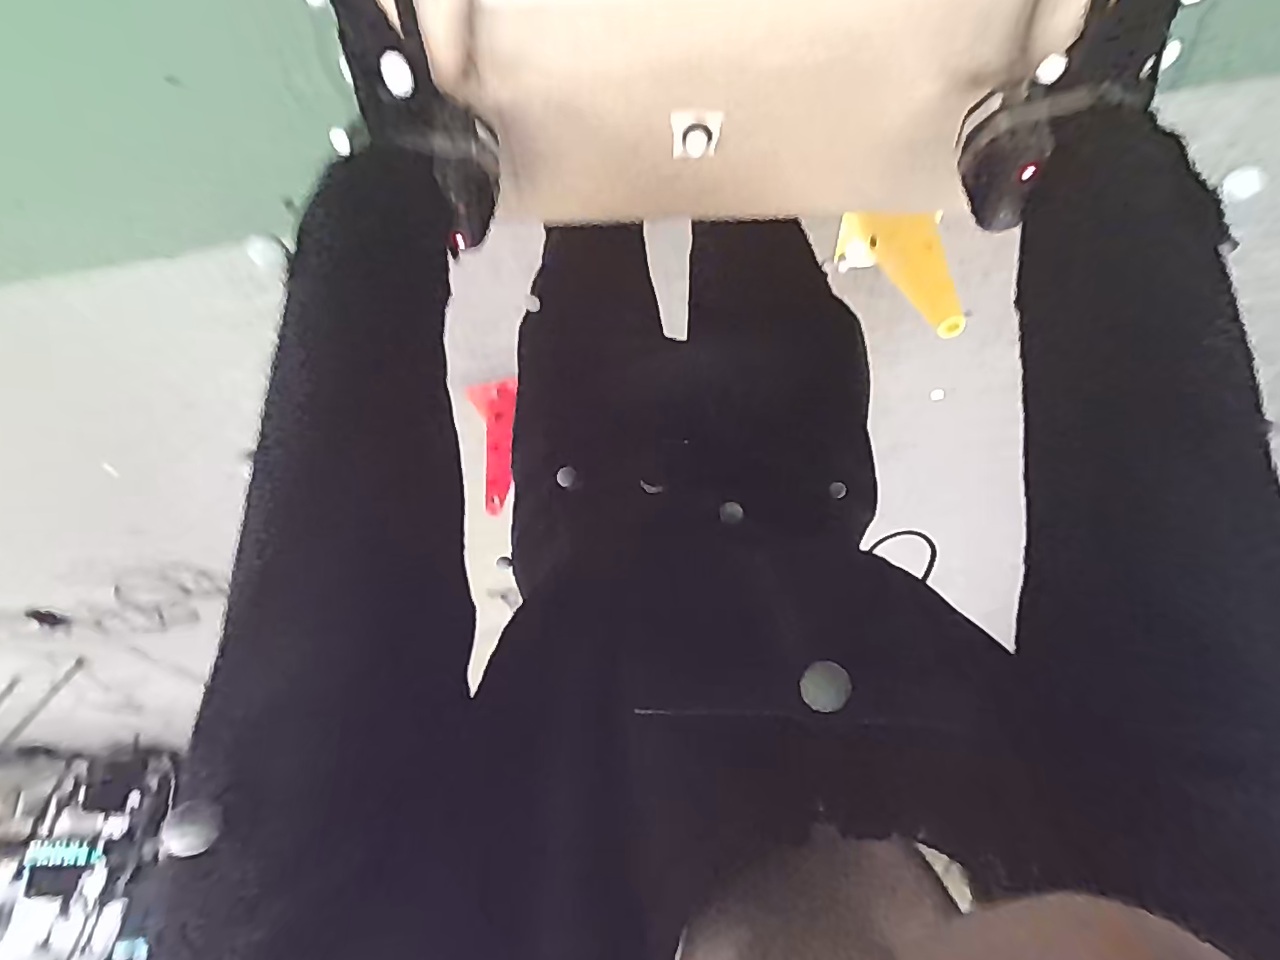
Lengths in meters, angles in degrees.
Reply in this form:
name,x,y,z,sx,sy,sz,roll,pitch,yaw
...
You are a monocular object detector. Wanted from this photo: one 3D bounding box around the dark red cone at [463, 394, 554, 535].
name,x,y,z,sx,sy,sz,roll,pitch,yaw
dark red cone,-0.363,-0.030,1.383,0.202,0.394,0.201,-10,138,13
